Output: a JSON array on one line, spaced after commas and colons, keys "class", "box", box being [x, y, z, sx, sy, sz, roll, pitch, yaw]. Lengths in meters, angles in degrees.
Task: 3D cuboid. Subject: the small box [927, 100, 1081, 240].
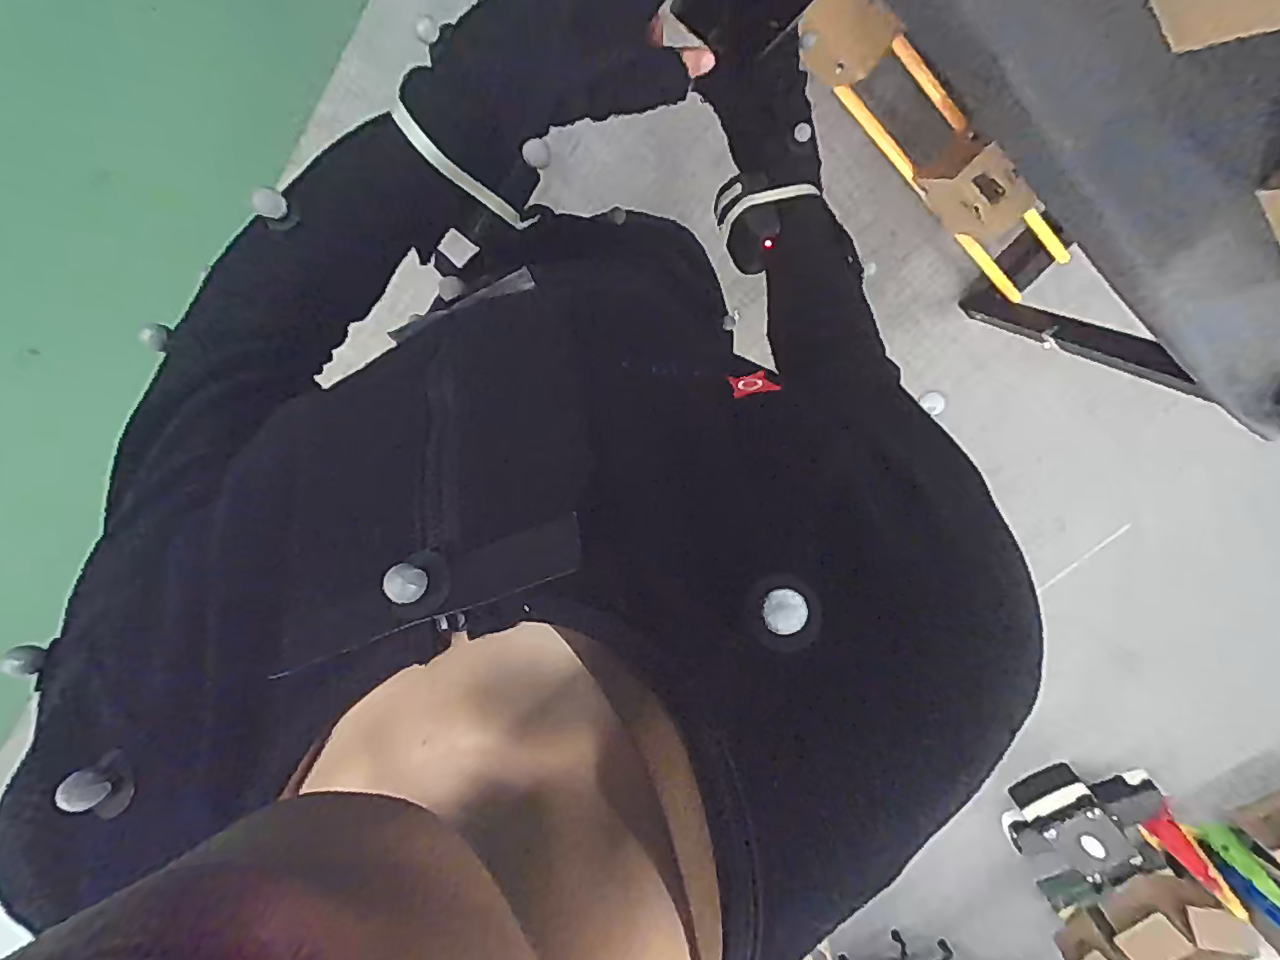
[{"class": "small box", "box": [0.718, -0.617, 1.094, 0.168, 0.176, 0.179, 38, 110, -21]}]
